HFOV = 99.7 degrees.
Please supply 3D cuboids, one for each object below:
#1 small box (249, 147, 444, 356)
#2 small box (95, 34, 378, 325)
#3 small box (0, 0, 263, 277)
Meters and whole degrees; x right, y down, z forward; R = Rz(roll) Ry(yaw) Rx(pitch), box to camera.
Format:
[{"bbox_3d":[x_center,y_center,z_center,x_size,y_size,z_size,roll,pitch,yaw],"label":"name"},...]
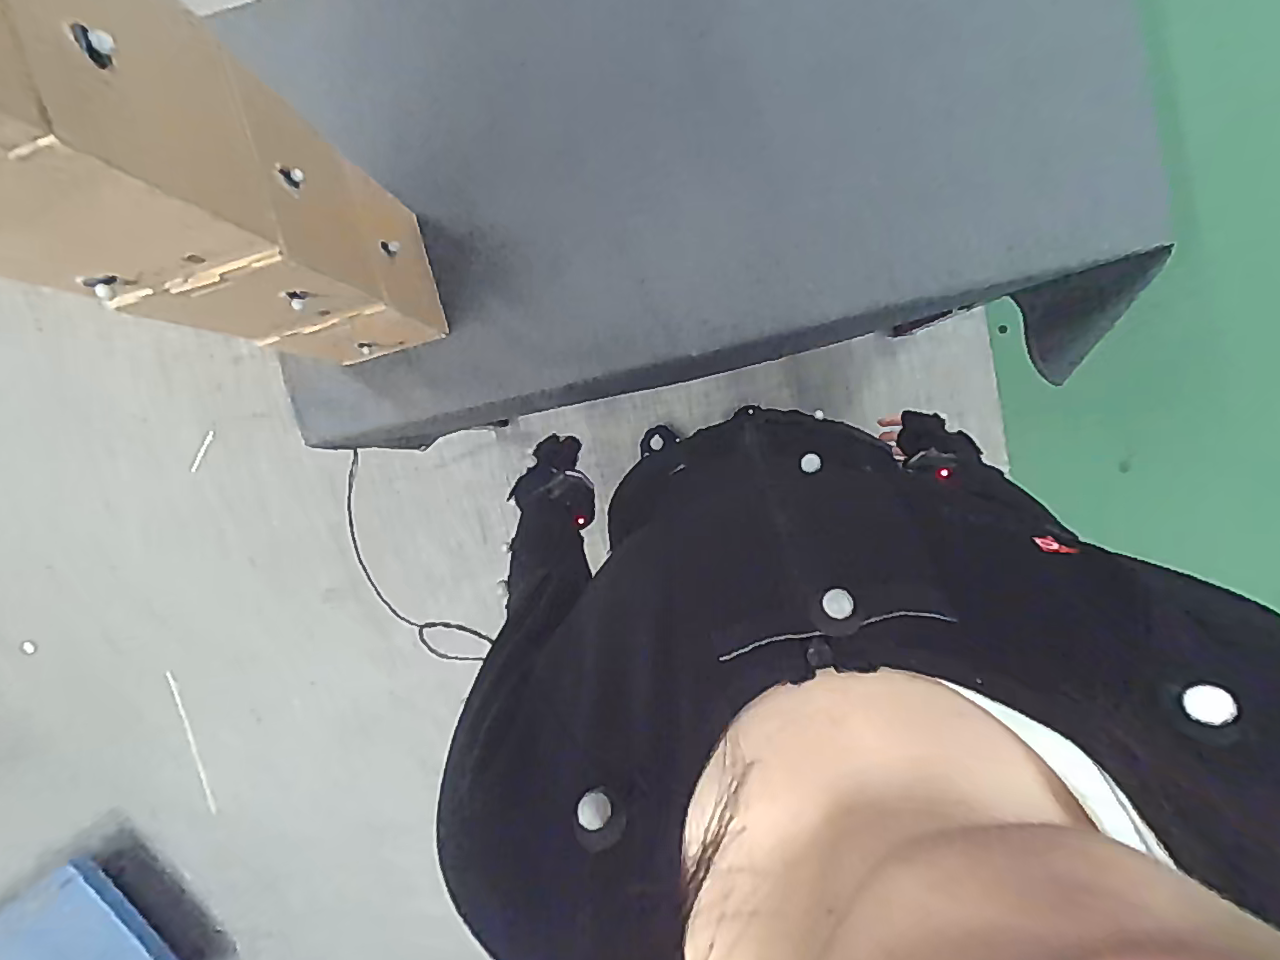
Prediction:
[{"bbox_3d":[-0.375,-0.269,0.679,0.168,0.176,0.179,-14,95,5],"label":"small box"},{"bbox_3d":[-0.384,-0.258,0.517,0.168,0.176,0.179,-13,94,4],"label":"small box"},{"bbox_3d":[-0.396,-0.249,0.354,0.168,0.176,0.179,-15,94,4],"label":"small box"}]
